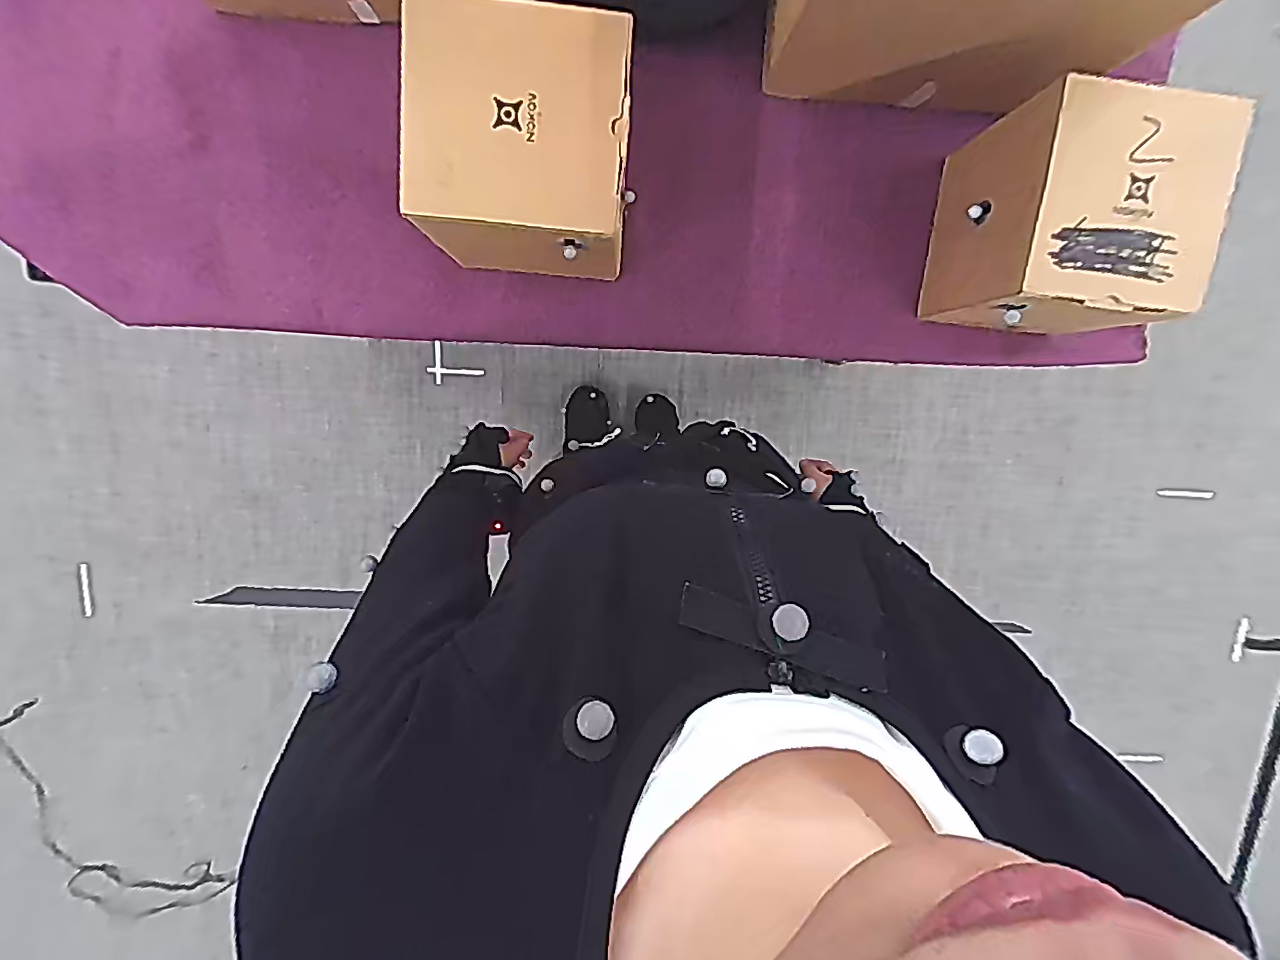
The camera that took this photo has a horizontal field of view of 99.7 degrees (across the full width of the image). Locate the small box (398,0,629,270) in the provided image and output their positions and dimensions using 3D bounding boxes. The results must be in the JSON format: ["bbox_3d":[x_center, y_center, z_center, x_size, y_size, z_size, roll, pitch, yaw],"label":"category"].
[{"bbox_3d":[-0.104,-0.302,0.501,0.179,0.176,0.168,3,98,-4],"label":"small box"}]
